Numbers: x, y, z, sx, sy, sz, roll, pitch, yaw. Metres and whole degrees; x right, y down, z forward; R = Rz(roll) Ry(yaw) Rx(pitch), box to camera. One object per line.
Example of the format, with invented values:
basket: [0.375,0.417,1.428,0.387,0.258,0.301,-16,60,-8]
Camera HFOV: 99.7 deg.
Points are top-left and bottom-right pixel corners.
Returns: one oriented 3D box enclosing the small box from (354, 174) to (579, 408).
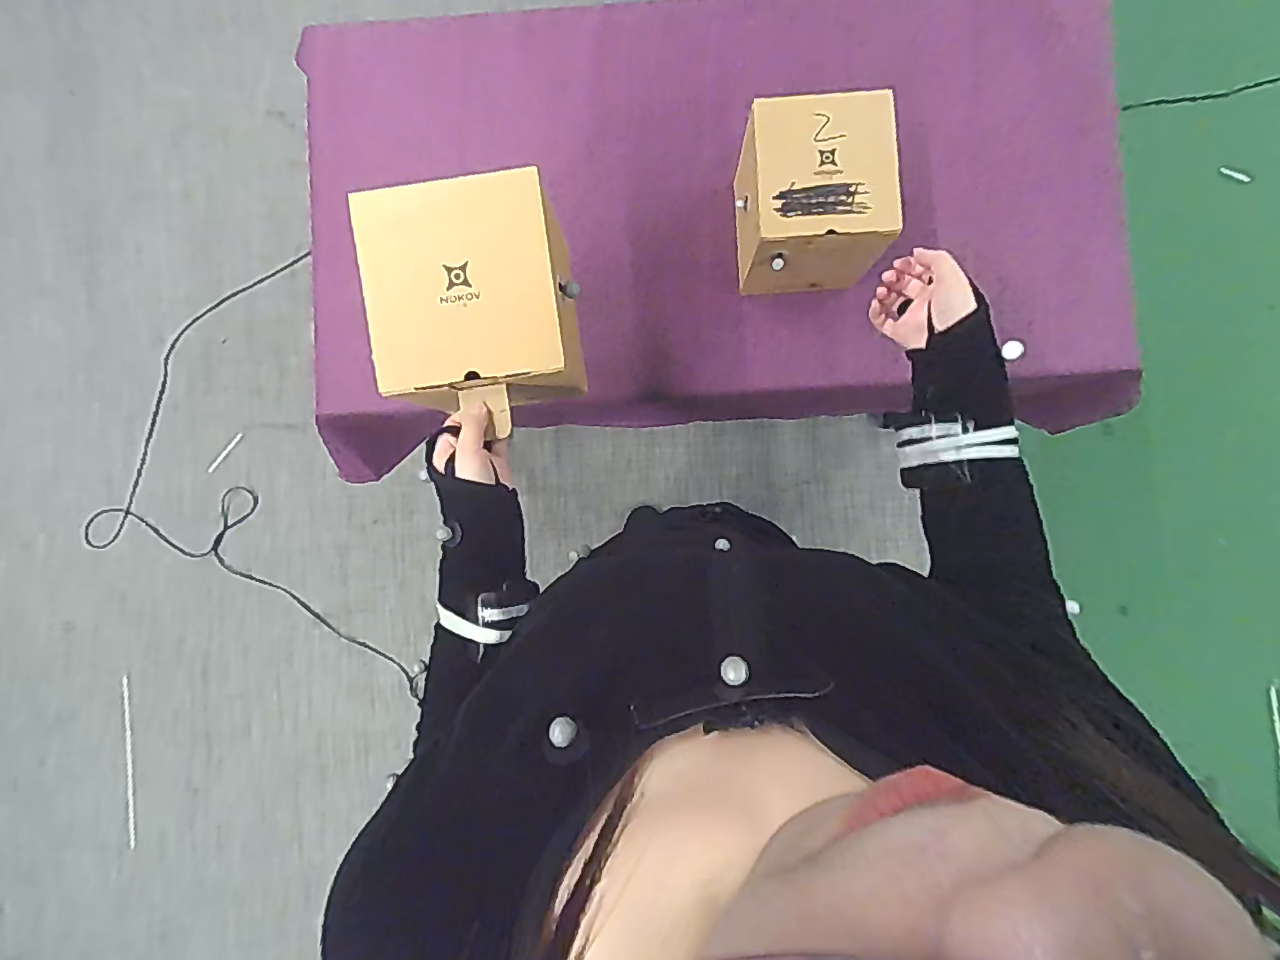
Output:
small box: [-0.162,-0.177,0.558,0.168,0.176,0.179,-8,93,1]
